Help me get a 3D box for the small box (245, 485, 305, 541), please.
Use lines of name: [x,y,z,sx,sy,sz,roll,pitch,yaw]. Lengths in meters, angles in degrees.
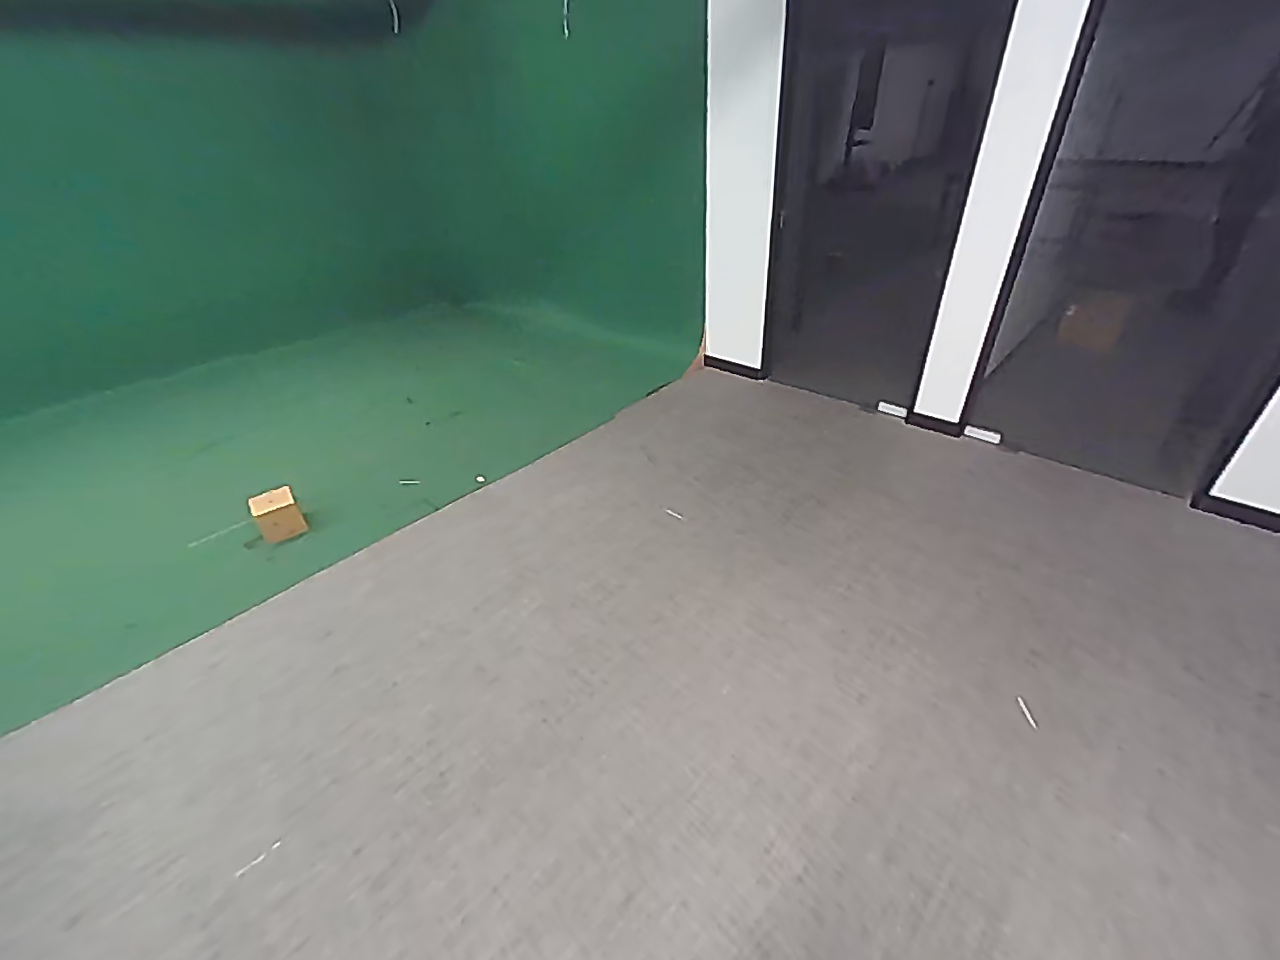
small box: [-1.663,0.154,2.467,0.168,0.176,0.179,-26,40,-30]
